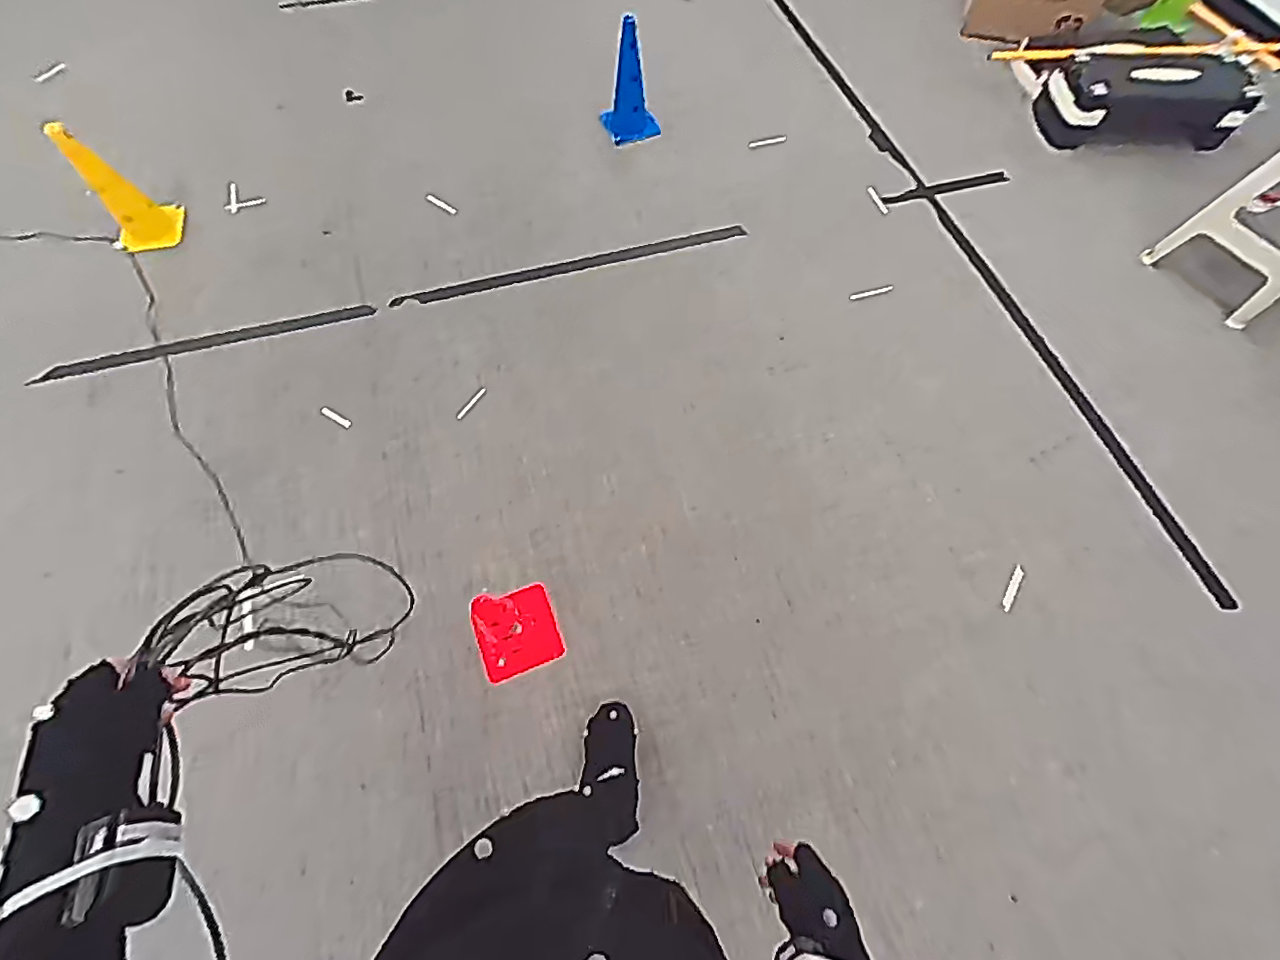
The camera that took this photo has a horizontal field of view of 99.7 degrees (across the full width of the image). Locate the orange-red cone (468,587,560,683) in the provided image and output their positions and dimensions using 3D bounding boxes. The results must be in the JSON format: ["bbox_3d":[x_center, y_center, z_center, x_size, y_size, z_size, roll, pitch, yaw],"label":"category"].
[{"bbox_3d":[-0.310,0.312,1.187,0.199,0.360,0.198,-19,68,-10],"label":"orange-red cone"}]

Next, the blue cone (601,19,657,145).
[{"bbox_3d":[-0.045,-1.460,1.976,0.193,0.380,0.192,-20,68,-9],"label":"blue cone"}]
